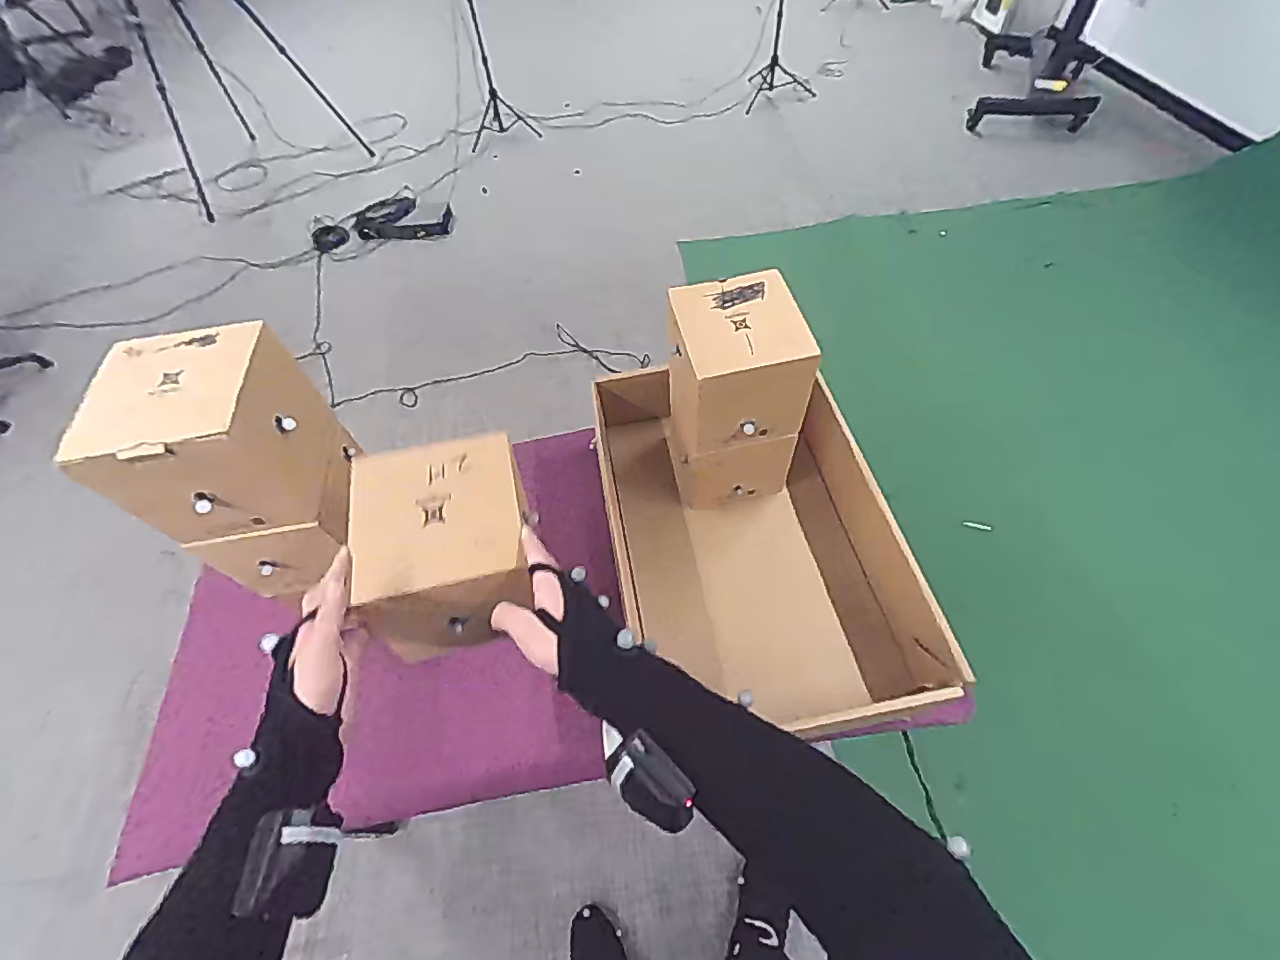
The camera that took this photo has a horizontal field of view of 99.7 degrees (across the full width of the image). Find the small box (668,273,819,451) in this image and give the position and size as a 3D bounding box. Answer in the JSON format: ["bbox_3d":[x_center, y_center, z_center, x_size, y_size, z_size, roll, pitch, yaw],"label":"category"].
[{"bbox_3d":[0.138,-0.169,0.795,0.168,0.176,0.179,-12,58,-2],"label":"small box"}]

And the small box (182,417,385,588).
[{"bbox_3d":[-0.482,0.040,0.766,0.168,0.176,0.179,-10,56,-3],"label":"small box"}]

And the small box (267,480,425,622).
[{"bbox_3d":[-0.474,0.126,0.903,0.168,0.176,0.179,-9,56,-3],"label":"small box"}]

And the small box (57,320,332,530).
[{"bbox_3d":[-0.490,-0.055,0.633,0.168,0.176,0.179,-10,57,-4],"label":"small box"}]
